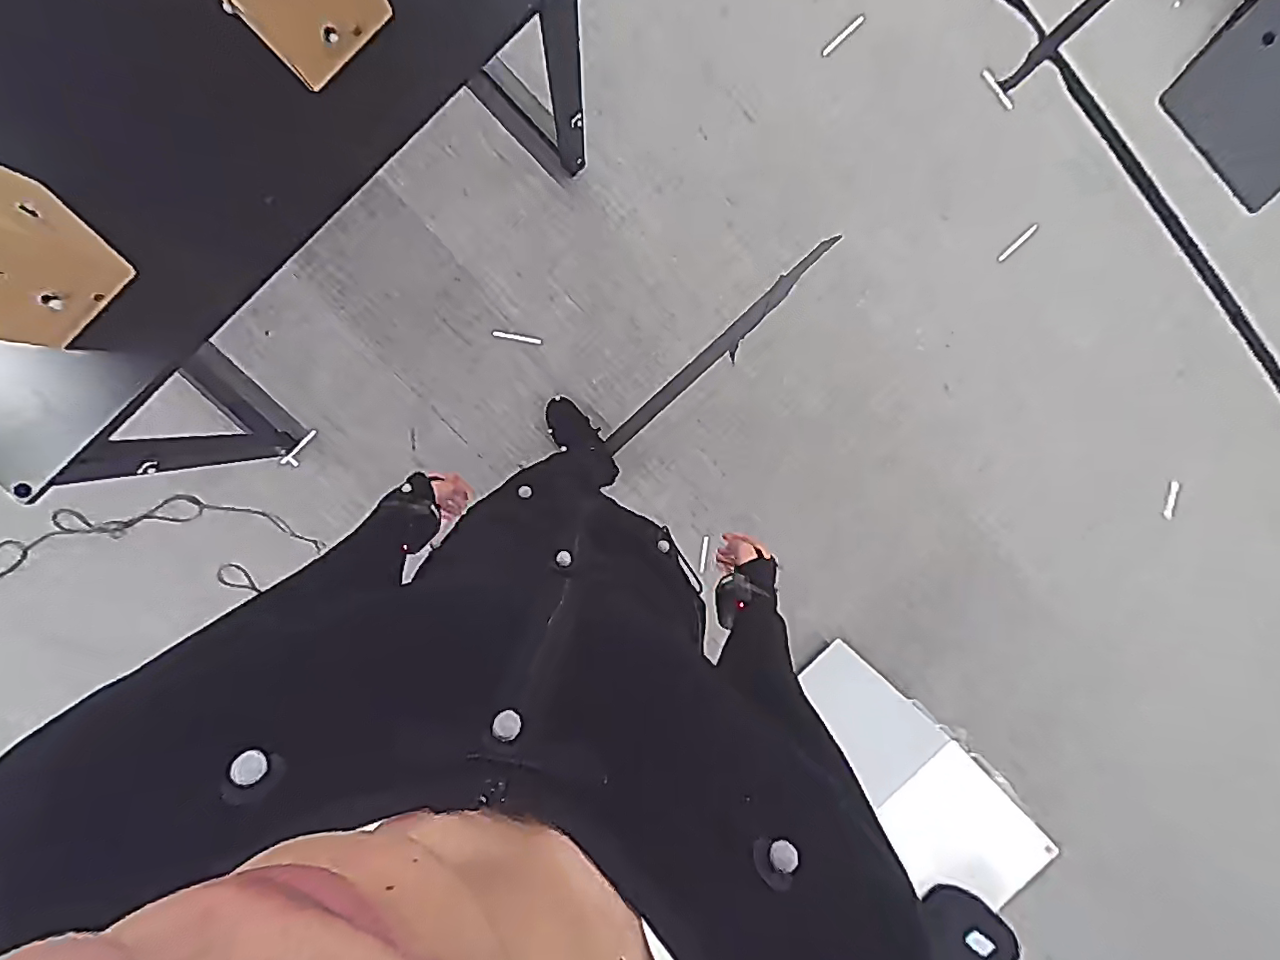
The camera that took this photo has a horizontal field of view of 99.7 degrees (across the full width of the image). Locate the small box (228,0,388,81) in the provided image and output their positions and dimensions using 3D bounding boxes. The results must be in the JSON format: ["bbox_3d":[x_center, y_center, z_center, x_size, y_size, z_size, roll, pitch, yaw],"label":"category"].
[{"bbox_3d":[-0.470,-0.679,0.697,0.168,0.176,0.179,-45,98,1],"label":"small box"}]

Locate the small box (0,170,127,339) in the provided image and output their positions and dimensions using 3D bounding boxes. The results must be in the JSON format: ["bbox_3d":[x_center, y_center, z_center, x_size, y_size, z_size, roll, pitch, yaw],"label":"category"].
[{"bbox_3d":[-0.853,-0.303,0.706,0.179,0.176,0.168,44,91,-9],"label":"small box"}]
